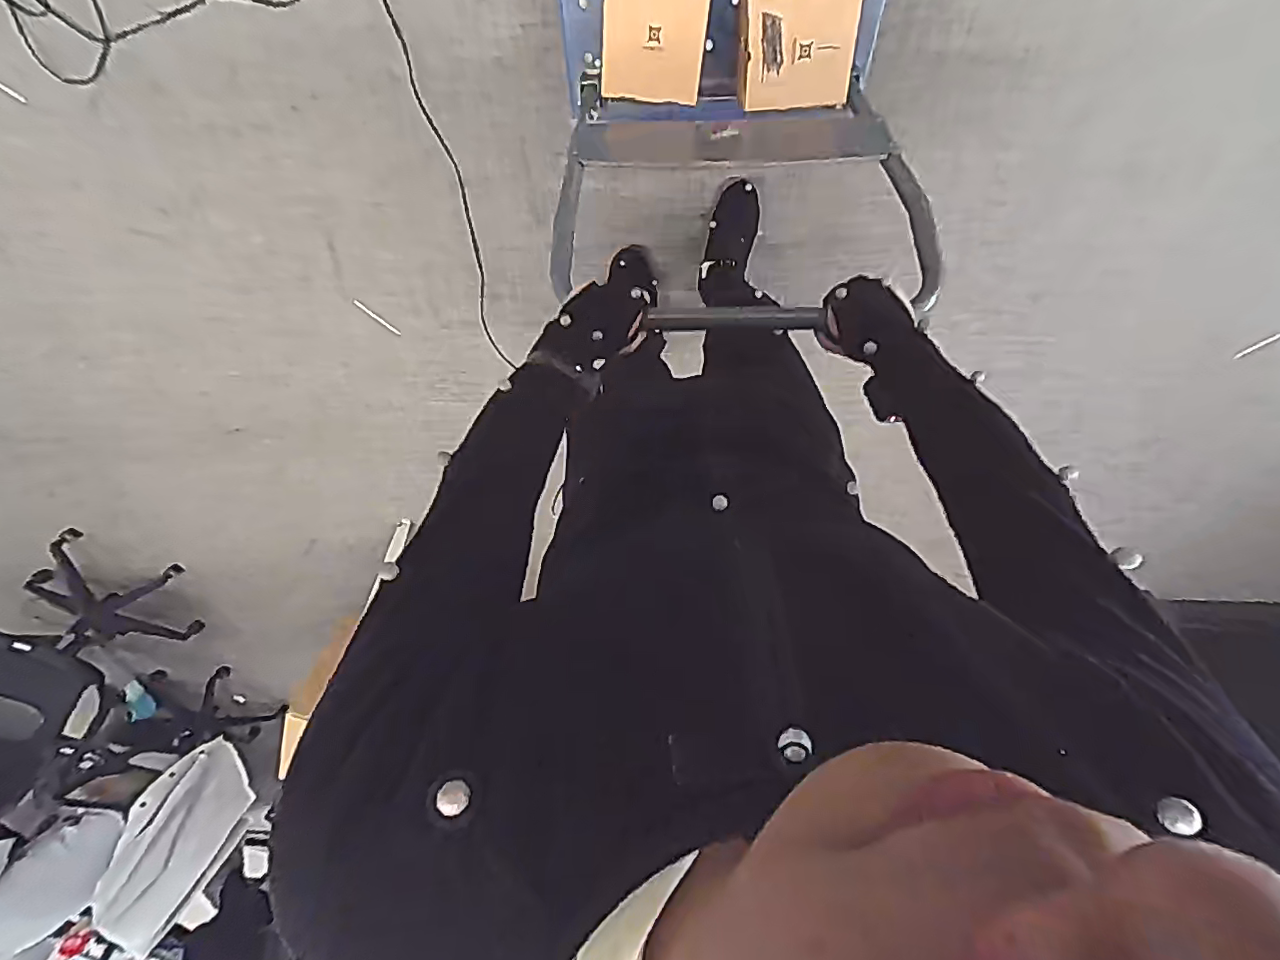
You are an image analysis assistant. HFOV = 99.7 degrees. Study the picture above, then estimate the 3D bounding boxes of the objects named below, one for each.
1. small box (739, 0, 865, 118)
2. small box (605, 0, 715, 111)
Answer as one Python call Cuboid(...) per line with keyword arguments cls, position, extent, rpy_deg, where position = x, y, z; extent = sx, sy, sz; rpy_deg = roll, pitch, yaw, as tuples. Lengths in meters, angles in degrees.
Cuboid(cls="small box", position=(0.265, -0.748, 0.927), extent=(0.179, 0.176, 0.168), rpy_deg=(-2, 141, 5))
Cuboid(cls="small box", position=(0.028, -0.765, 0.921), extent=(0.168, 0.176, 0.179), rpy_deg=(4, 142, -3))
